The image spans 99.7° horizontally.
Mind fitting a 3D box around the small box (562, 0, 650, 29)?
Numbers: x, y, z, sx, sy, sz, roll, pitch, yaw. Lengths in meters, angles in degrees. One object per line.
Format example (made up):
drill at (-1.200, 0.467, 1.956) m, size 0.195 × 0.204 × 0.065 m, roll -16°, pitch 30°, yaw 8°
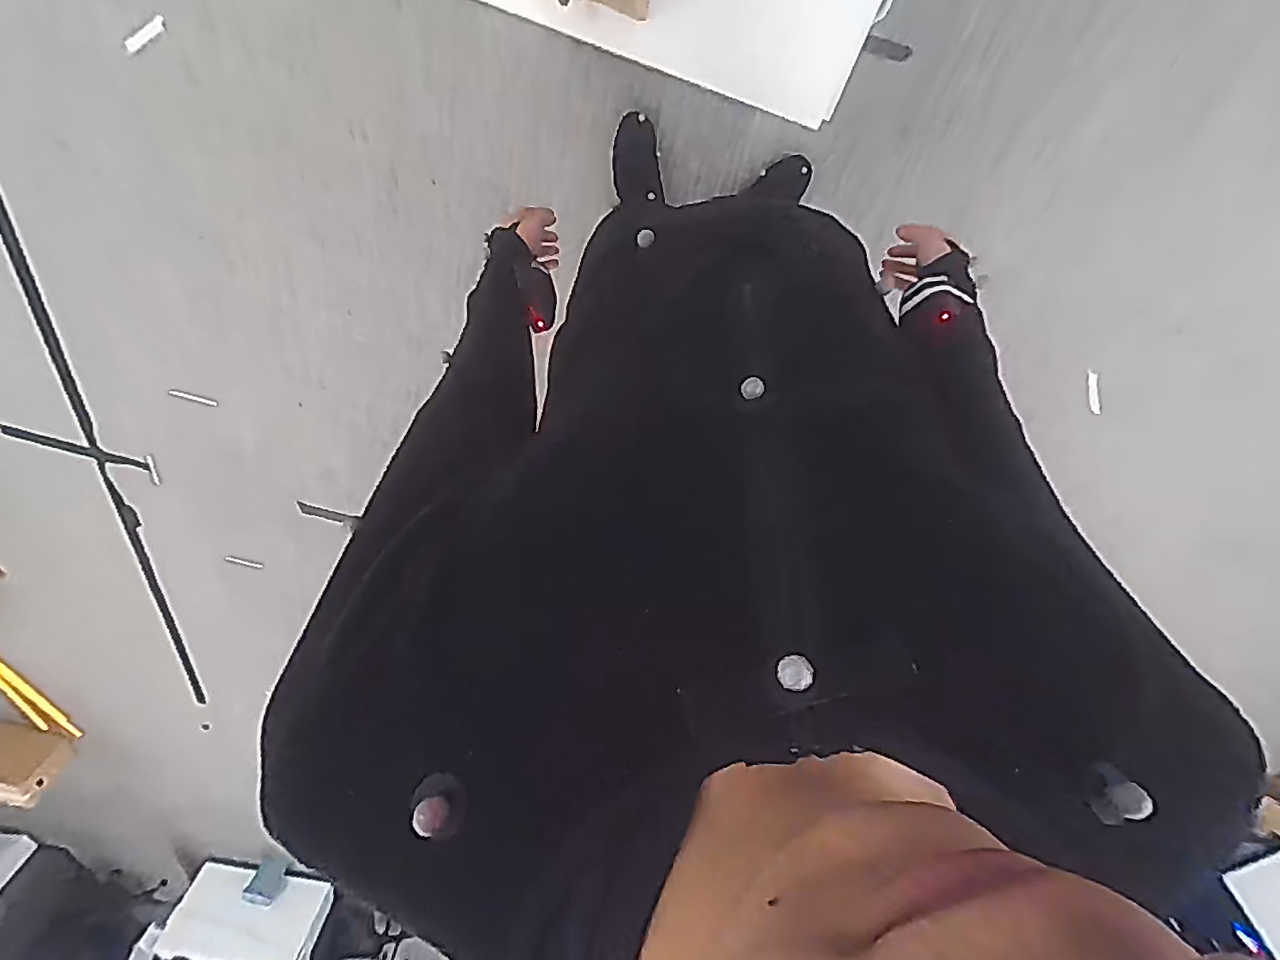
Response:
small box at (-0.054, -0.638, 0.592) m, size 0.168 × 0.176 × 0.179 m, roll 18°, pitch 124°, yaw -6°
